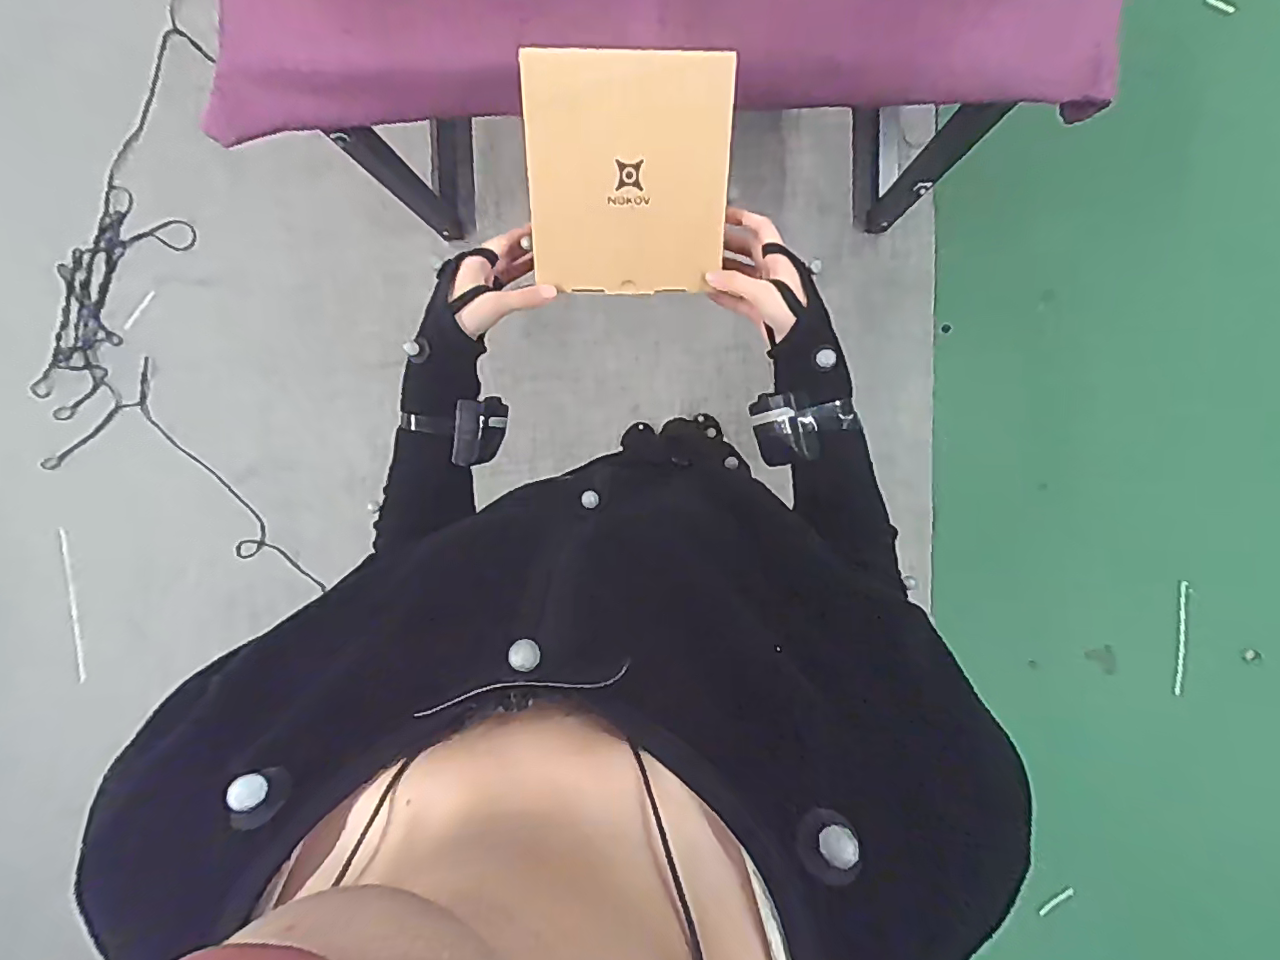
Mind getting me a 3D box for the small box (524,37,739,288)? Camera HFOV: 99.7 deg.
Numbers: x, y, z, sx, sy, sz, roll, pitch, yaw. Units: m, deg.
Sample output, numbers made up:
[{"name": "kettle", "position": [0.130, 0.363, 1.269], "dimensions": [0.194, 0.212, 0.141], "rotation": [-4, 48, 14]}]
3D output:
[{"name": "small box", "position": [-0.013, -0.283, 0.509], "dimensions": [0.168, 0.176, 0.179], "rotation": [-1, 117, -3]}]
